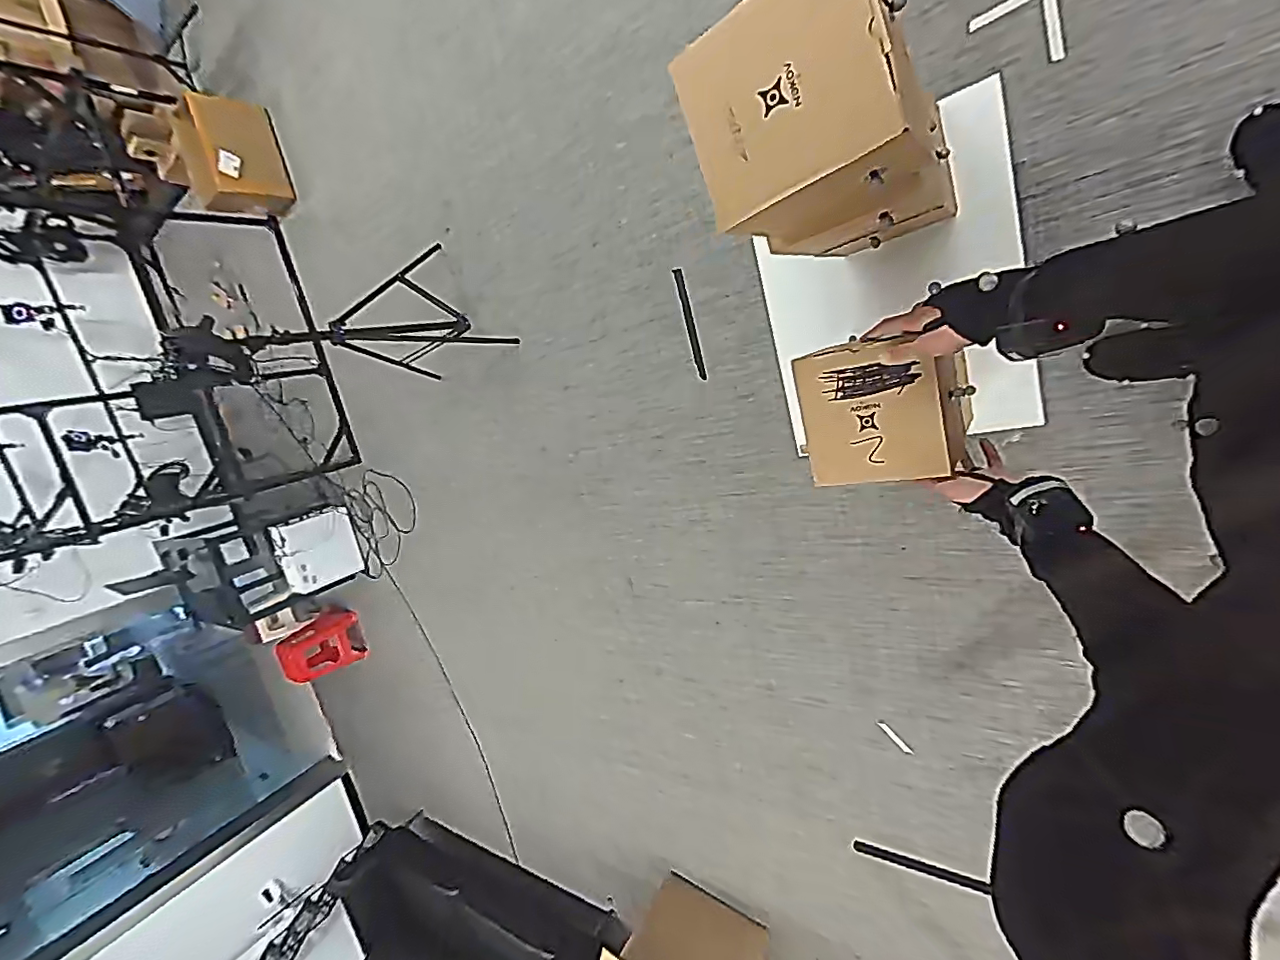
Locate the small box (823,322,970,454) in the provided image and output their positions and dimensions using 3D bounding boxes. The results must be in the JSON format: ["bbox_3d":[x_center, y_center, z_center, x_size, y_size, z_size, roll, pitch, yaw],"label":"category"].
[{"bbox_3d":[0.414,-0.148,0.860,0.179,0.176,0.168,-6,104,38],"label":"small box"}]

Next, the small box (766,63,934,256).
[{"bbox_3d":[0.251,-0.391,0.668,0.179,0.176,0.168,-8,103,38],"label":"small box"}]

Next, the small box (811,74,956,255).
[{"bbox_3d":[0.344,-0.441,0.794,0.179,0.176,0.168,-9,103,39],"label":"small box"}]

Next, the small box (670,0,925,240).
[{"bbox_3d":[0.164,-0.356,0.533,0.179,0.176,0.168,-15,98,39],"label":"small box"}]
